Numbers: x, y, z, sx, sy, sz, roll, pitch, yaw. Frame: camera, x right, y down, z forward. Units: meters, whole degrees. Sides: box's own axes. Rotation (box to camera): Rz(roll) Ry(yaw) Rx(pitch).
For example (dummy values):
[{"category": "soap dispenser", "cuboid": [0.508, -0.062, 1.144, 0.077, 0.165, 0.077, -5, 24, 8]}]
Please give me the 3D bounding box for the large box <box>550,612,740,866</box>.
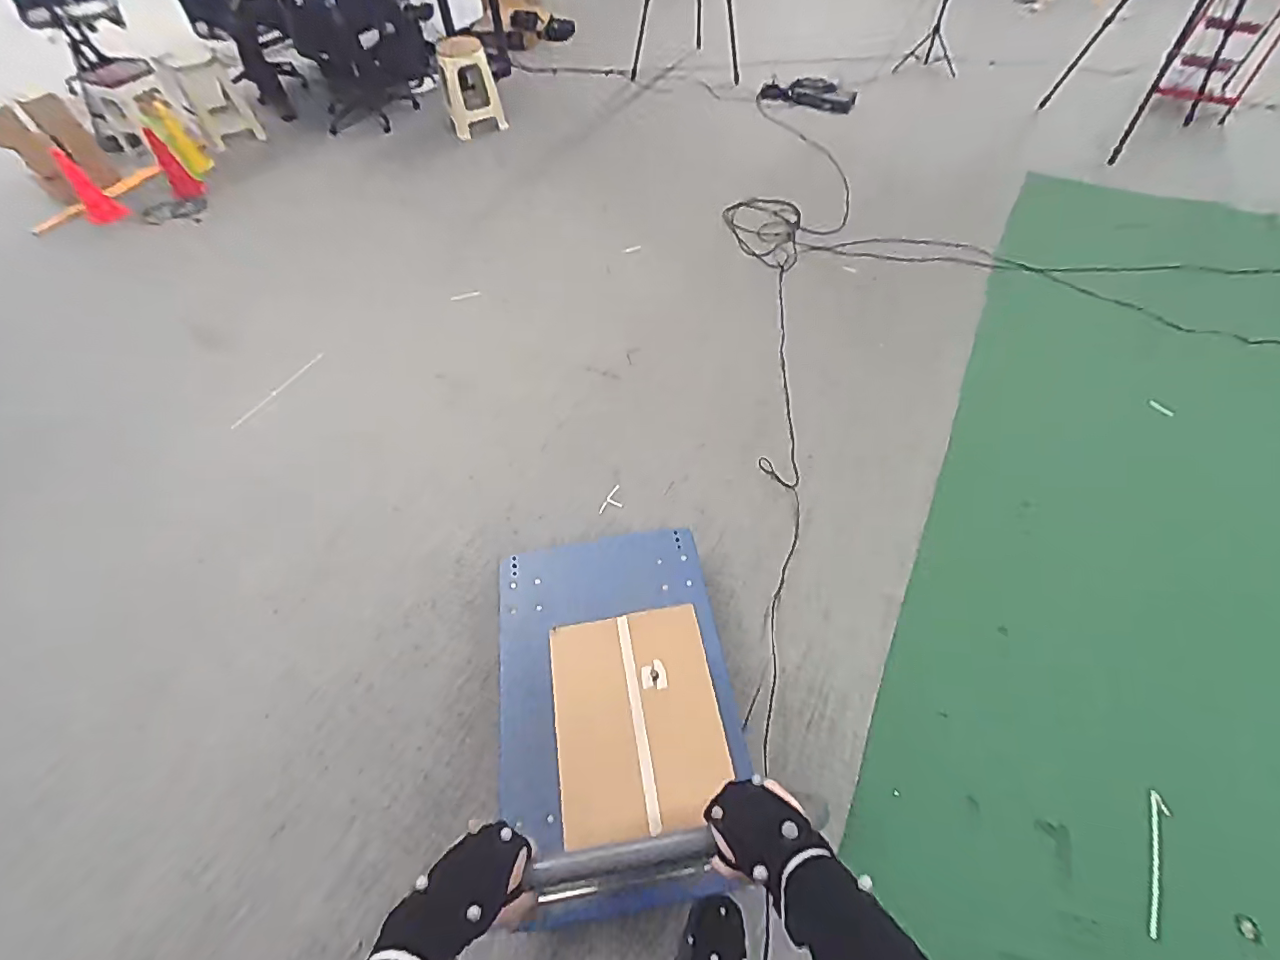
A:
[{"category": "large box", "cuboid": [-0.001, 0.558, 1.169, 0.320, 0.320, 0.408, -9, 52, -5]}]
